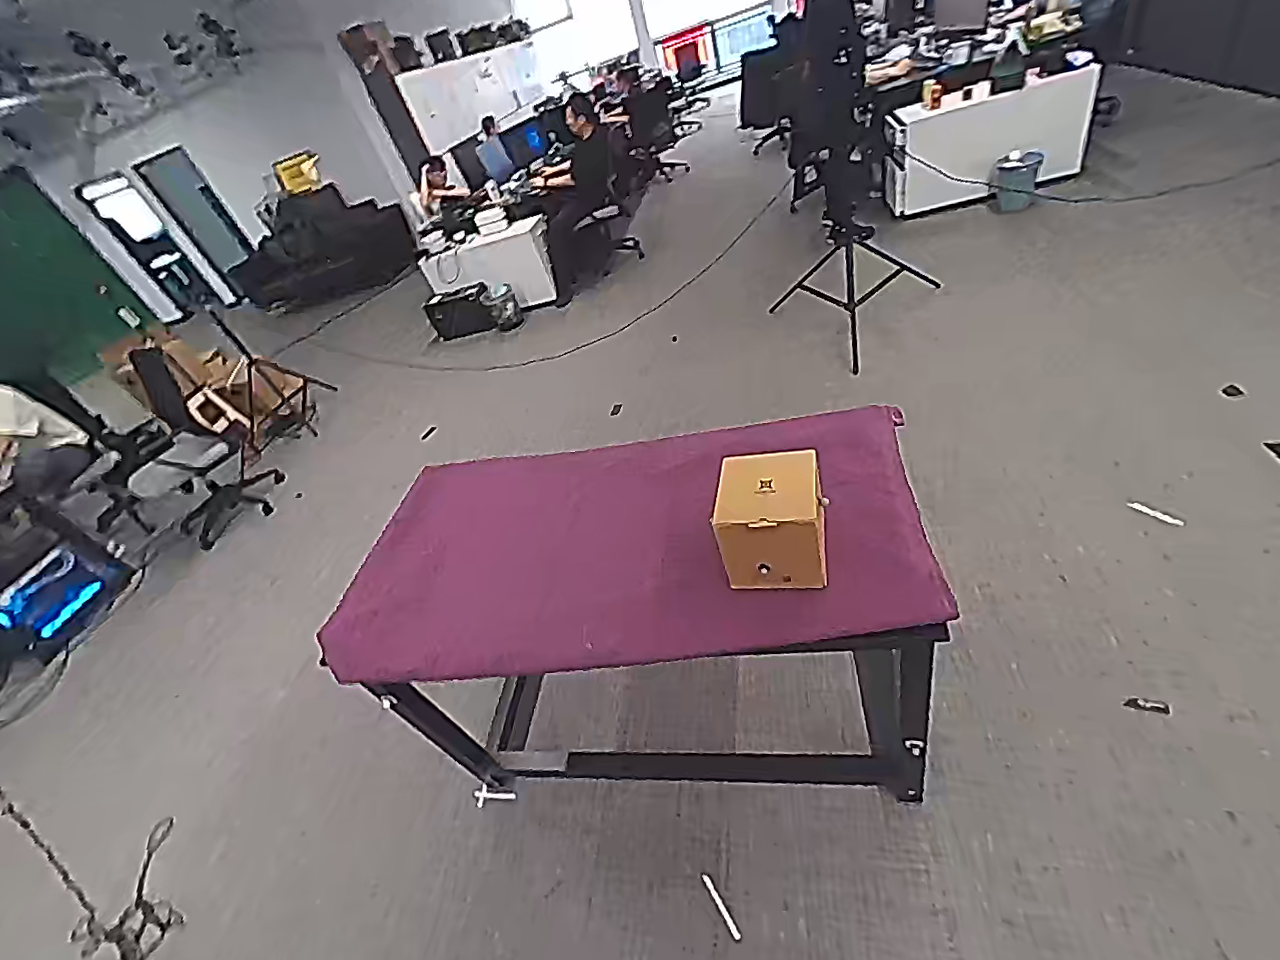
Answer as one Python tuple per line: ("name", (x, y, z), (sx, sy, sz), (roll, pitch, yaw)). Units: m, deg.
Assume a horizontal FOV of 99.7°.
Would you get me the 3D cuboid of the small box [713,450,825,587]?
("small box", (0.236, 0.070, 0.964), (0.168, 0.176, 0.179), (-5, 40, 20))
